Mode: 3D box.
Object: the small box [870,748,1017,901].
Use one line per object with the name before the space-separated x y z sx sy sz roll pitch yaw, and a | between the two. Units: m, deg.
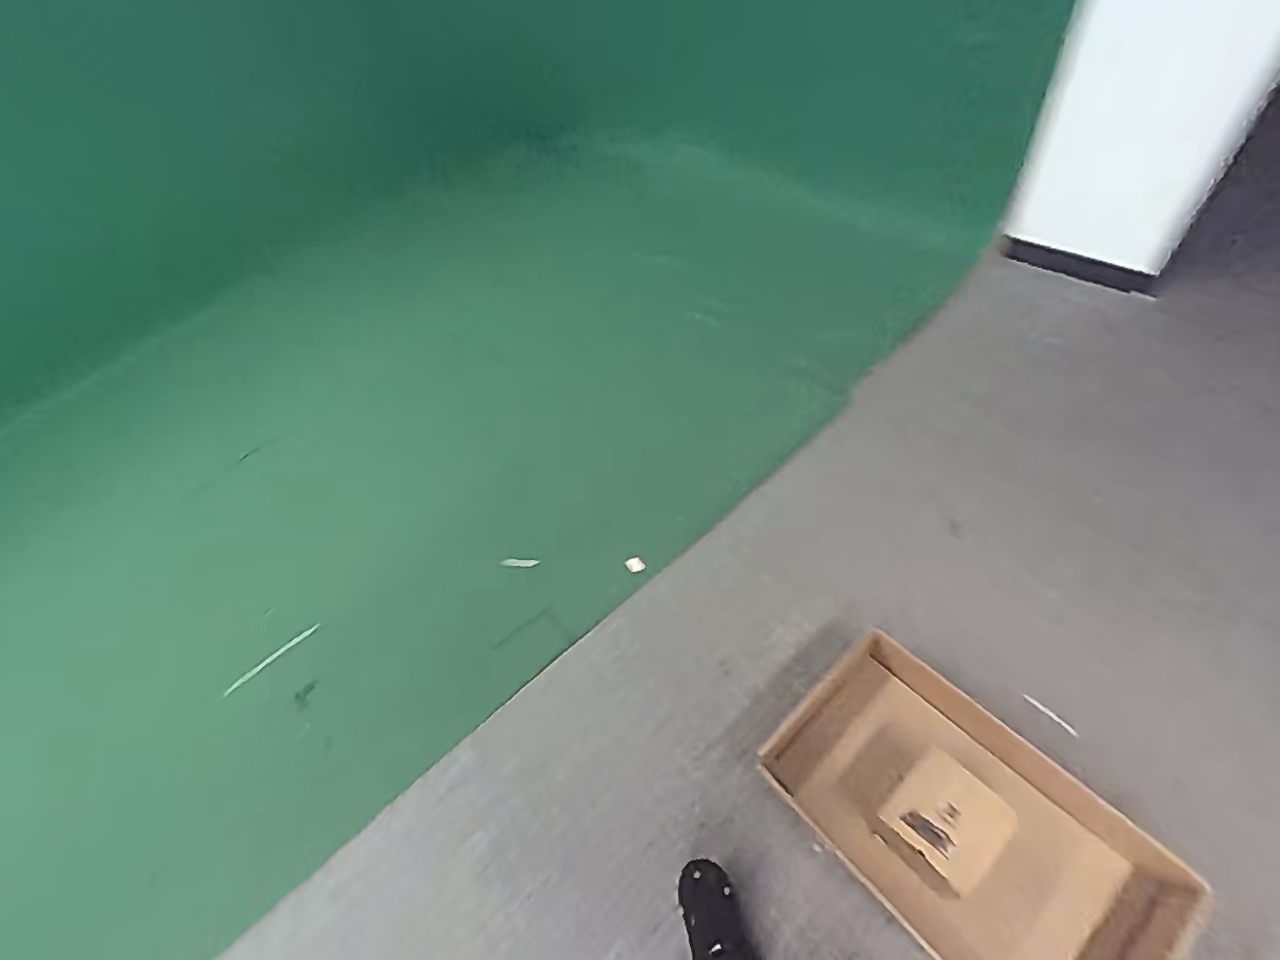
small box | 0.557 0.649 1.018 0.179 0.176 0.168 -39 54 -16
